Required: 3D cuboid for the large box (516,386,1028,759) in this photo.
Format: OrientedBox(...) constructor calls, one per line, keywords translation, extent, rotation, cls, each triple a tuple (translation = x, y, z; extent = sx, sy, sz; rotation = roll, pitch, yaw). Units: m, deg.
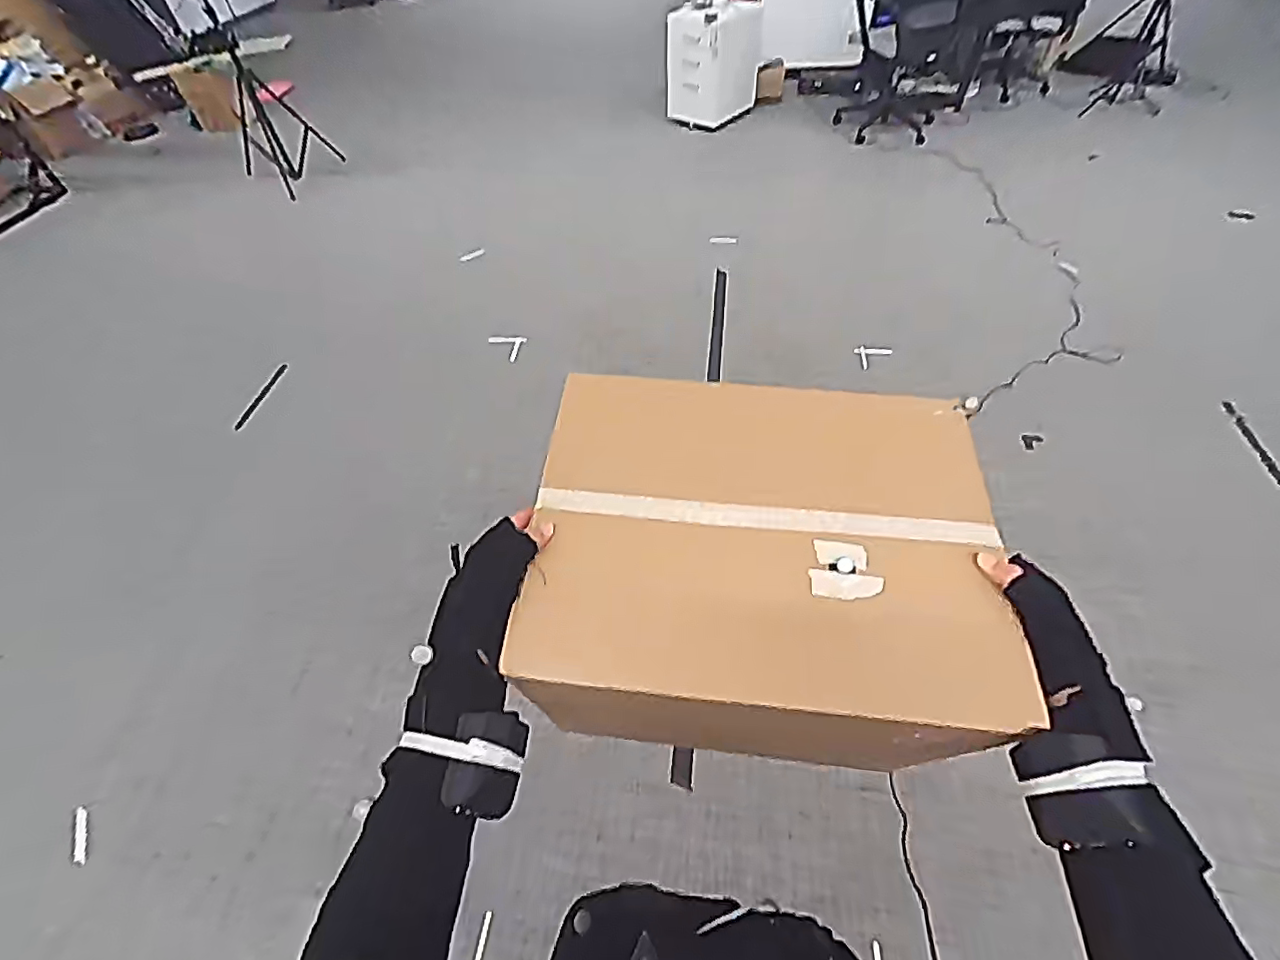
OrientedBox(translation=(0.111, 0.118, 0.620), extent=(0.408, 0.320, 0.320), rotation=(5, 59, 4), cls="large box")
